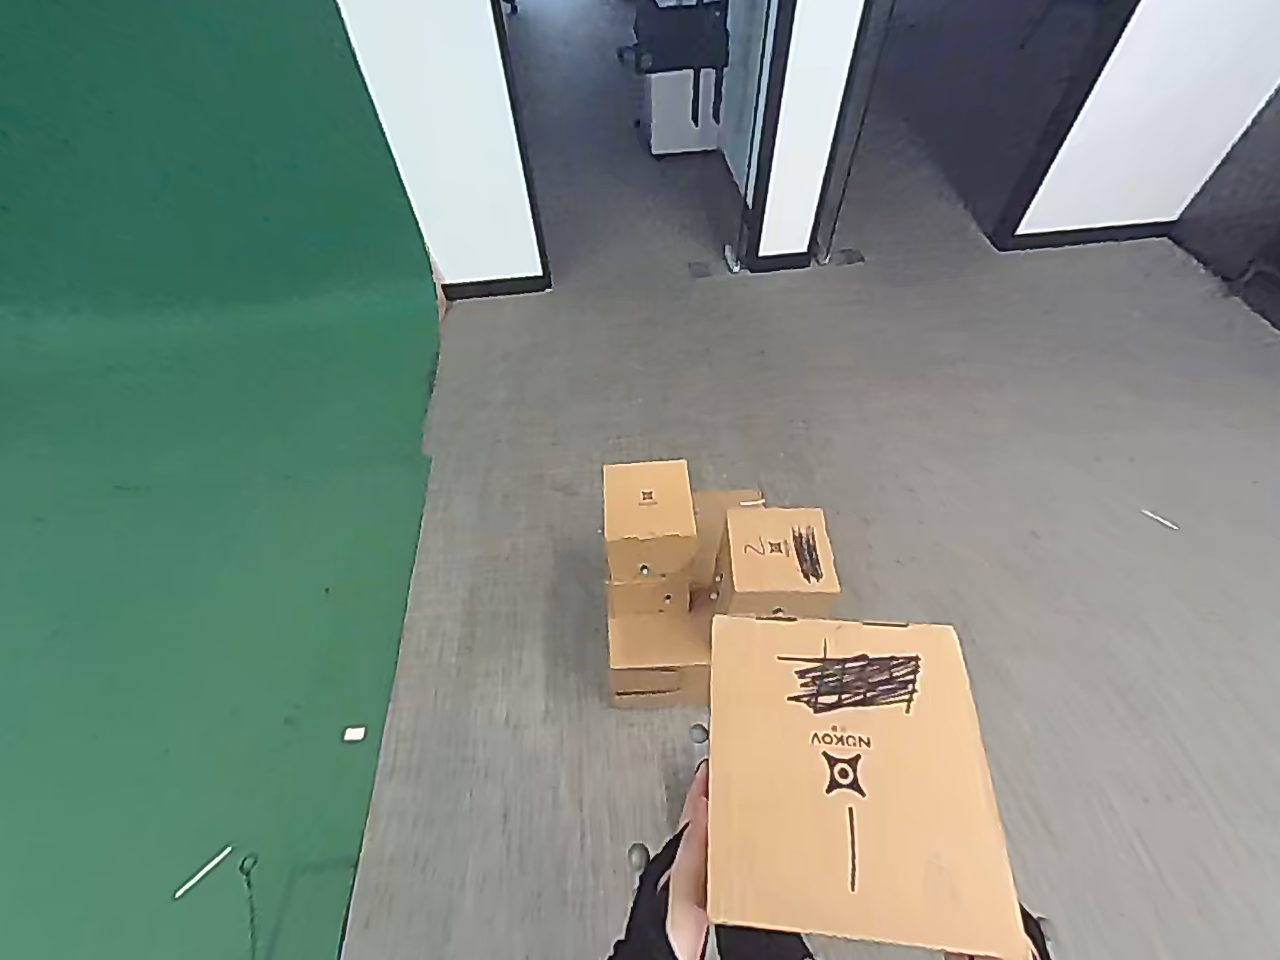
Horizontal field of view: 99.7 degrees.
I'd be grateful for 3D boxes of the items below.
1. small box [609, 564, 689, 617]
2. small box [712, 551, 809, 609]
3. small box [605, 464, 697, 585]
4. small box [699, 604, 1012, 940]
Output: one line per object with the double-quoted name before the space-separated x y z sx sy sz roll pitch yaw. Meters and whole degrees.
"small box" 0.021 0.193 1.196 0.168 0.176 0.179 -3 50 1
"small box" 0.243 0.265 1.124 0.168 0.176 0.179 -1 50 1
"small box" 0.018 0.089 1.071 0.168 0.176 0.179 -4 52 0
"small box" 0.129 0.208 0.403 0.168 0.176 0.179 0 58 8
